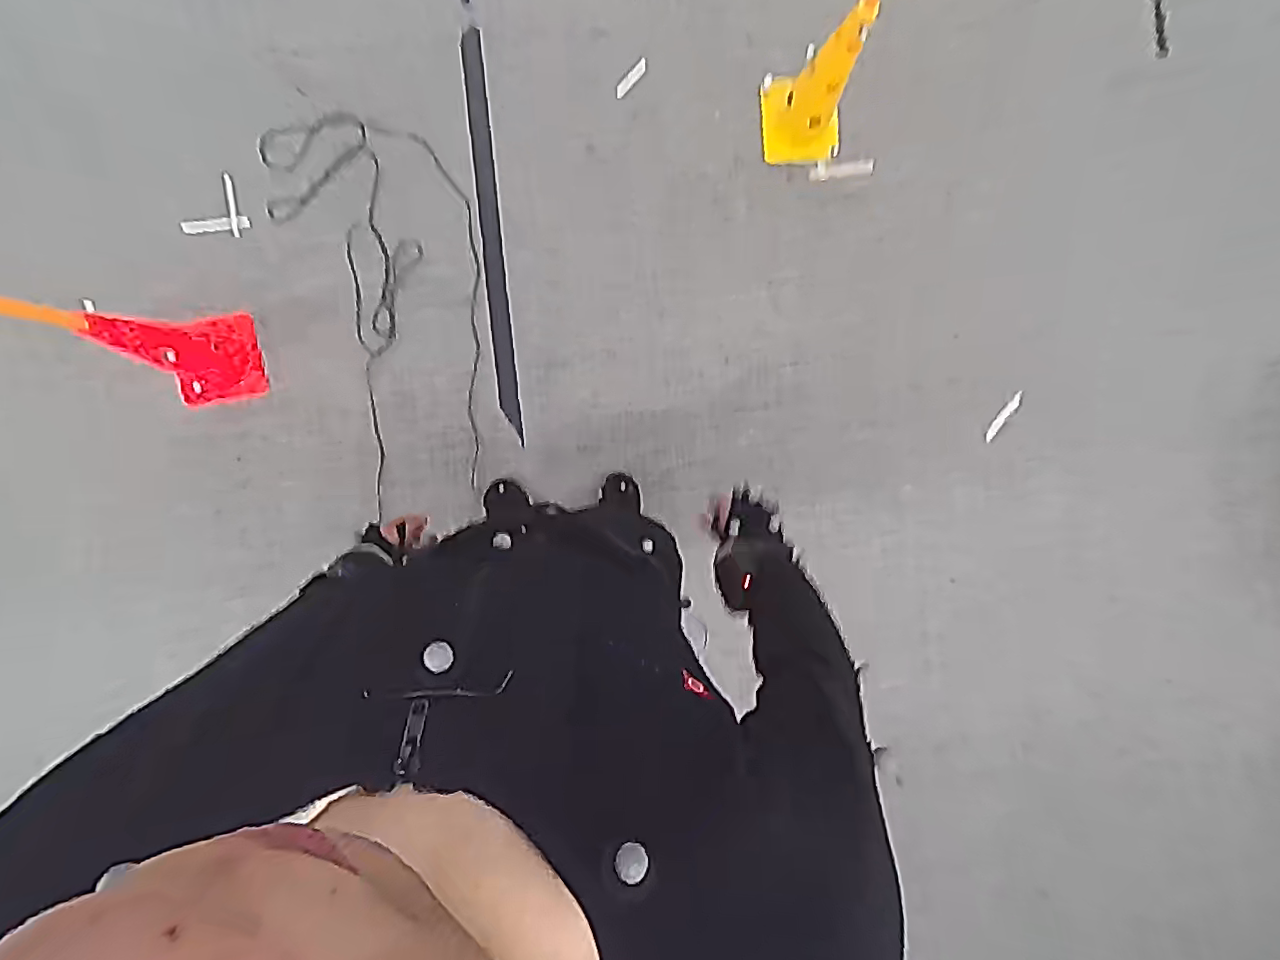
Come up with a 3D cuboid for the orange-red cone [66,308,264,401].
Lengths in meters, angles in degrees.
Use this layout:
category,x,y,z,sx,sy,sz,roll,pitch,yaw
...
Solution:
category,x,y,z,sx,sy,sz,roll,pitch,yaw
orange-red cone,-0.993,-0.289,1.113,0.199,0.360,0.198,-12,93,-5
